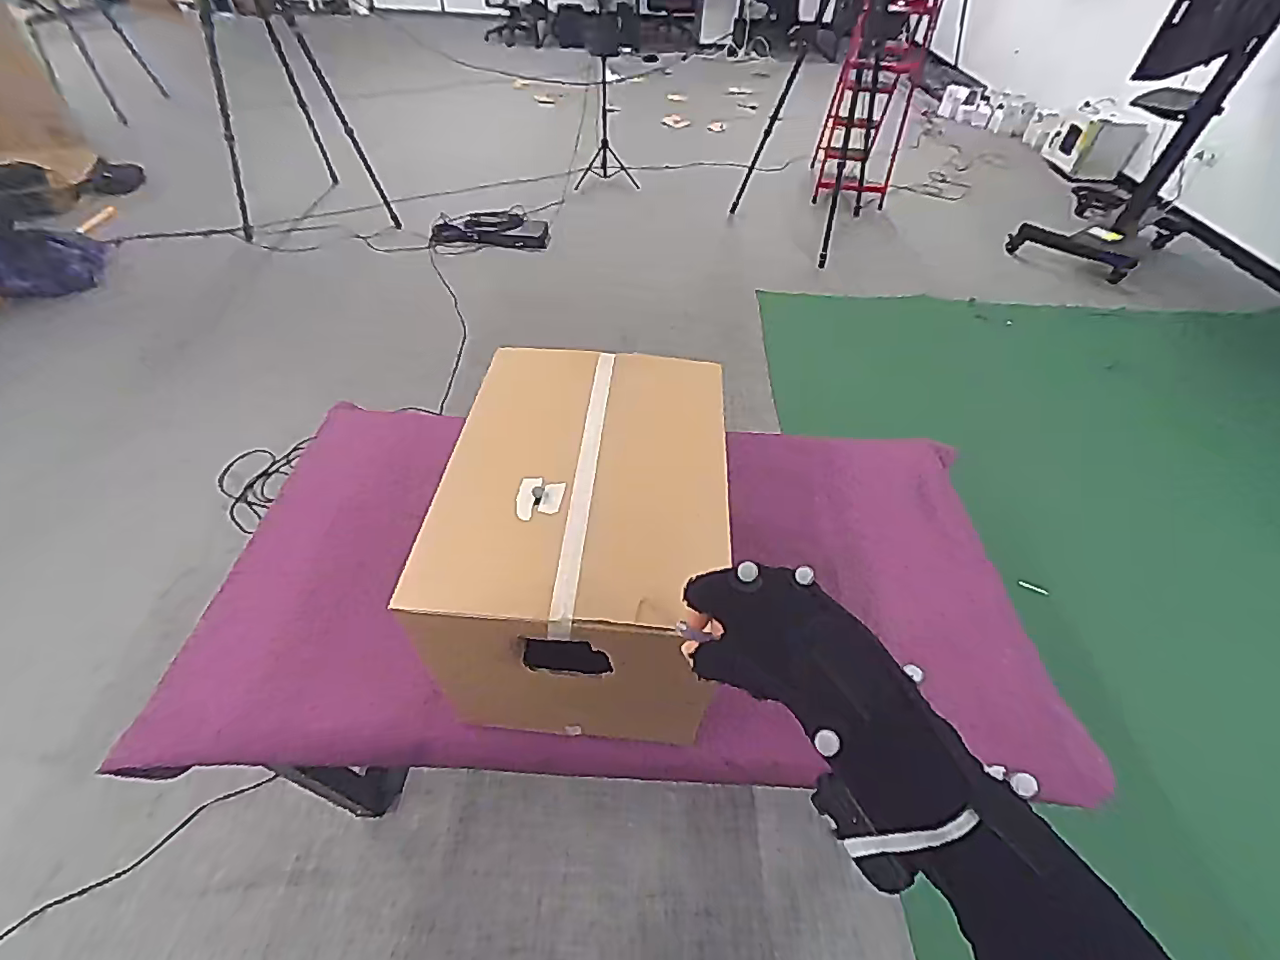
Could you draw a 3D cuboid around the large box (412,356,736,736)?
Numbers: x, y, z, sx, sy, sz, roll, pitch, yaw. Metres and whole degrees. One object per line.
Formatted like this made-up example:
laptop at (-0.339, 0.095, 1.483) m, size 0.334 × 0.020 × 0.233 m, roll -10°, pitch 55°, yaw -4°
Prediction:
large box at (-0.060, 0.085, 0.742) m, size 0.320 × 0.320 × 0.408 m, roll 5°, pitch 49°, yaw 1°
